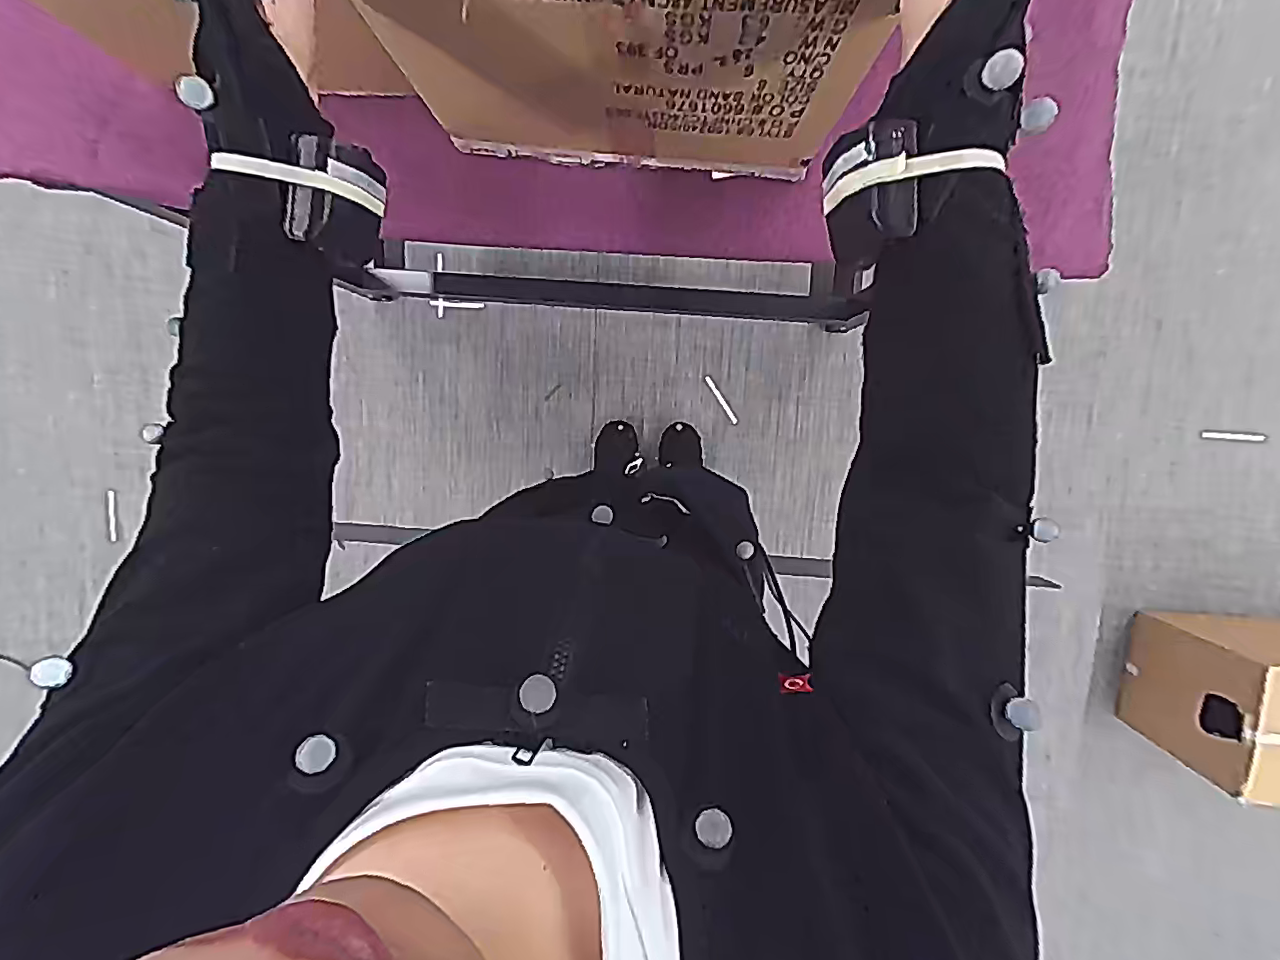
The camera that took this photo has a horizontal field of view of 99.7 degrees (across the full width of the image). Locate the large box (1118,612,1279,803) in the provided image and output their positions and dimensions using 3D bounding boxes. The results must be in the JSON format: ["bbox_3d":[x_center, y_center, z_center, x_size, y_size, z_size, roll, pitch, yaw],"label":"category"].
[{"bbox_3d":[1.470,0.515,1.266,0.408,0.320,0.320,2,97,2],"label":"large box"}]
